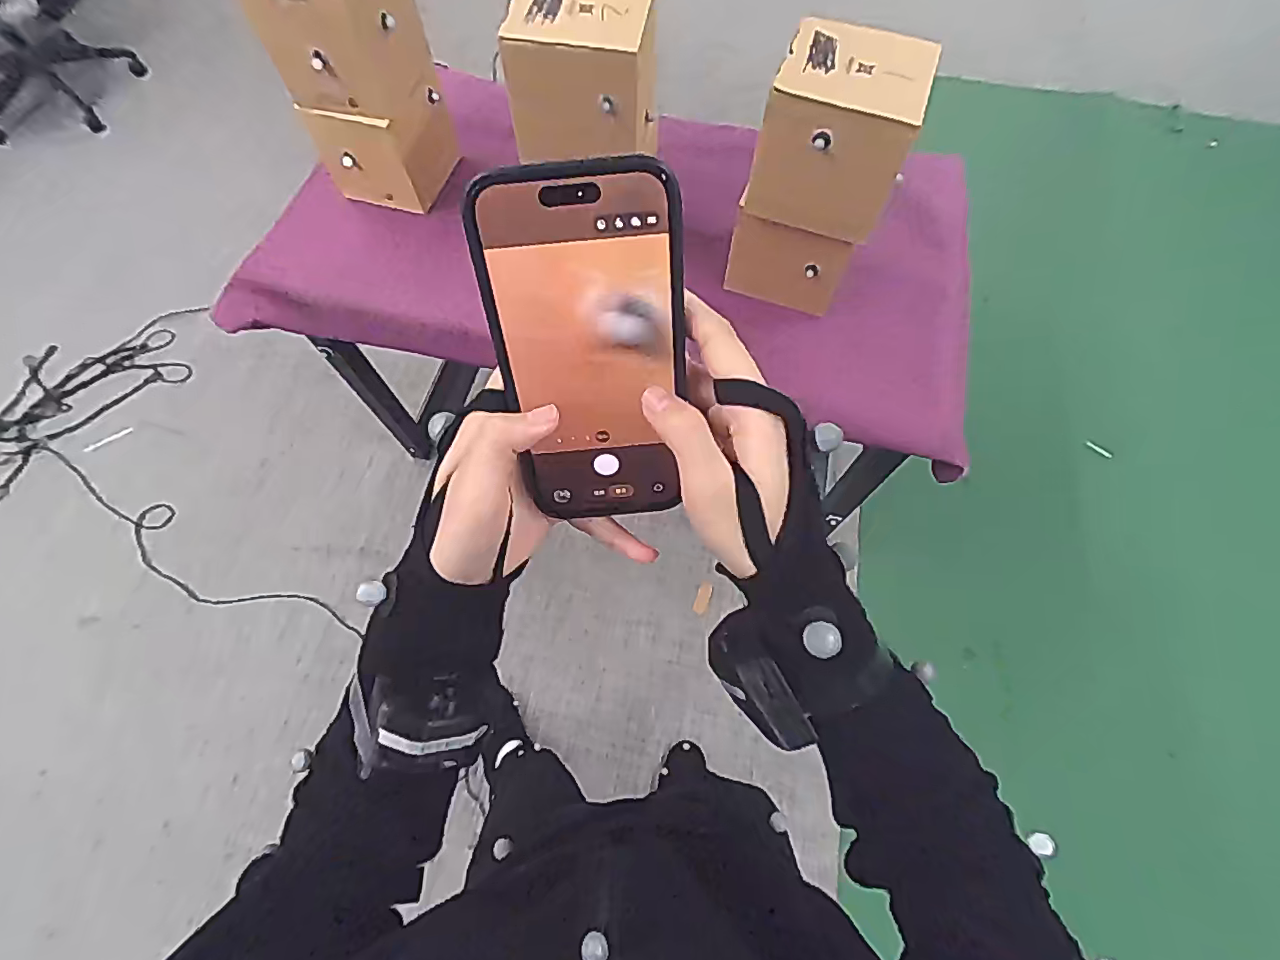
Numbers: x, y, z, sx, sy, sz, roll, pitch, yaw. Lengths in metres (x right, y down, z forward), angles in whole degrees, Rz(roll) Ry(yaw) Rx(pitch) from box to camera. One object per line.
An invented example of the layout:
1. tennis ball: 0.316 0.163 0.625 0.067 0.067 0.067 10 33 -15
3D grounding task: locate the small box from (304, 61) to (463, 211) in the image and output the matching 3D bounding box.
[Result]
1. small box: -0.439 -0.616 0.962 0.168 0.176 0.179 16 67 7

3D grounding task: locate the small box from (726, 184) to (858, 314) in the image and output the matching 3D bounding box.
1. small box: 0.253 -0.397 0.868 0.179 0.176 0.168 21 67 10

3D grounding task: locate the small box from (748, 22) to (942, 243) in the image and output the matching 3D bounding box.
1. small box: 0.257 -0.447 0.712 0.179 0.176 0.168 21 68 8

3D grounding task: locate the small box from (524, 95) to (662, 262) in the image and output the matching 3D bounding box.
1. small box: -0.070 -0.498 0.909 0.179 0.176 0.168 15 67 6

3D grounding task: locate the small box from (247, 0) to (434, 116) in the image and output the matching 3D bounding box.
1. small box: -0.436 -0.690 0.814 0.168 0.176 0.179 11 67 4
